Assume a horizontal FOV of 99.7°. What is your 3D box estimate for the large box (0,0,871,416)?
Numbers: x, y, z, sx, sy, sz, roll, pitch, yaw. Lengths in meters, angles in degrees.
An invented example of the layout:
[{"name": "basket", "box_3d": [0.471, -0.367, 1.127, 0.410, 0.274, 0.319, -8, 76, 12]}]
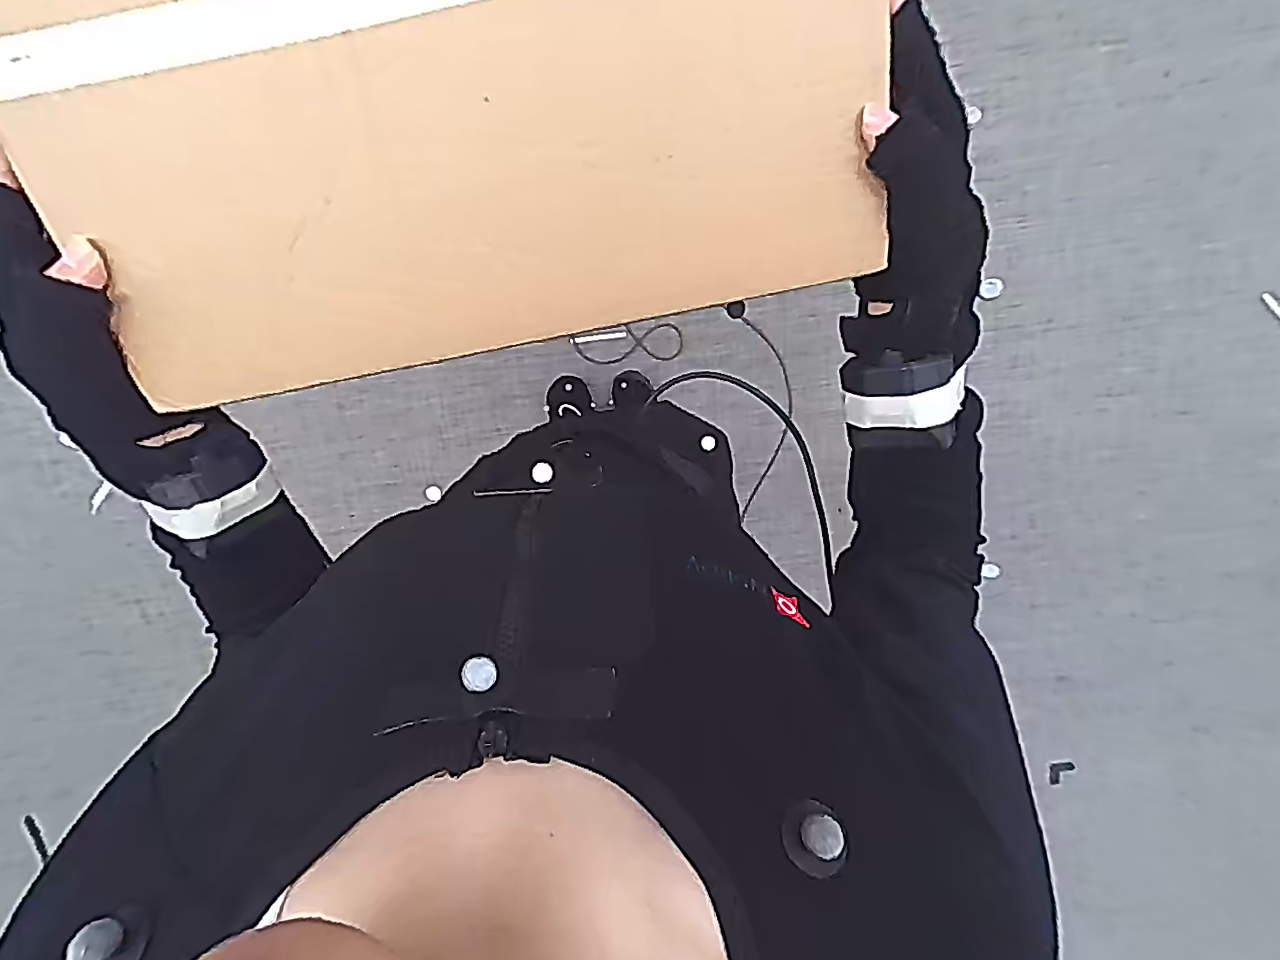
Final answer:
[{"name": "large box", "box_3d": [-0.102, -0.272, 0.381, 0.408, 0.320, 0.320, -11, 112, 2]}]
